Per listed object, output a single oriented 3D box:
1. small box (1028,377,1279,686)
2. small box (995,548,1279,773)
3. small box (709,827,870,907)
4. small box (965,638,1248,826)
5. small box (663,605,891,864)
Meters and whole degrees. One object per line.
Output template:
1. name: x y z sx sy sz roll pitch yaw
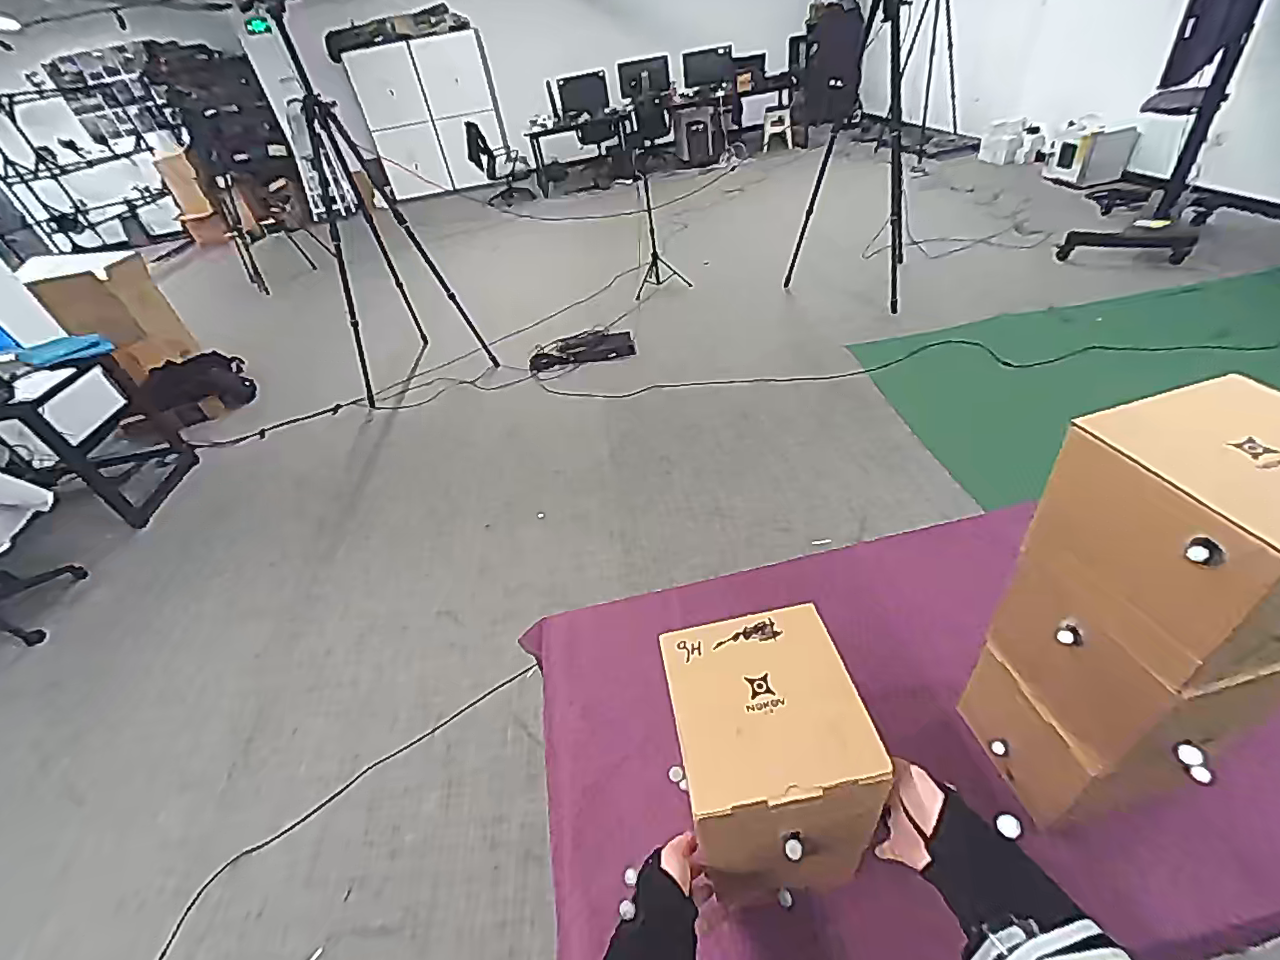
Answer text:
1. small box: 0.485 0.041 0.464 0.168 0.176 0.179 -16 40 -4
2. small box: 0.515 0.167 0.563 0.168 0.176 0.179 -14 40 -2
3. small box: 0.153 0.379 0.657 0.168 0.176 0.179 -12 40 0
4. small box: 0.542 0.292 0.664 0.179 0.176 0.168 -13 39 -2
5. small box: 0.126 0.260 0.547 0.168 0.176 0.179 -12 40 -1
